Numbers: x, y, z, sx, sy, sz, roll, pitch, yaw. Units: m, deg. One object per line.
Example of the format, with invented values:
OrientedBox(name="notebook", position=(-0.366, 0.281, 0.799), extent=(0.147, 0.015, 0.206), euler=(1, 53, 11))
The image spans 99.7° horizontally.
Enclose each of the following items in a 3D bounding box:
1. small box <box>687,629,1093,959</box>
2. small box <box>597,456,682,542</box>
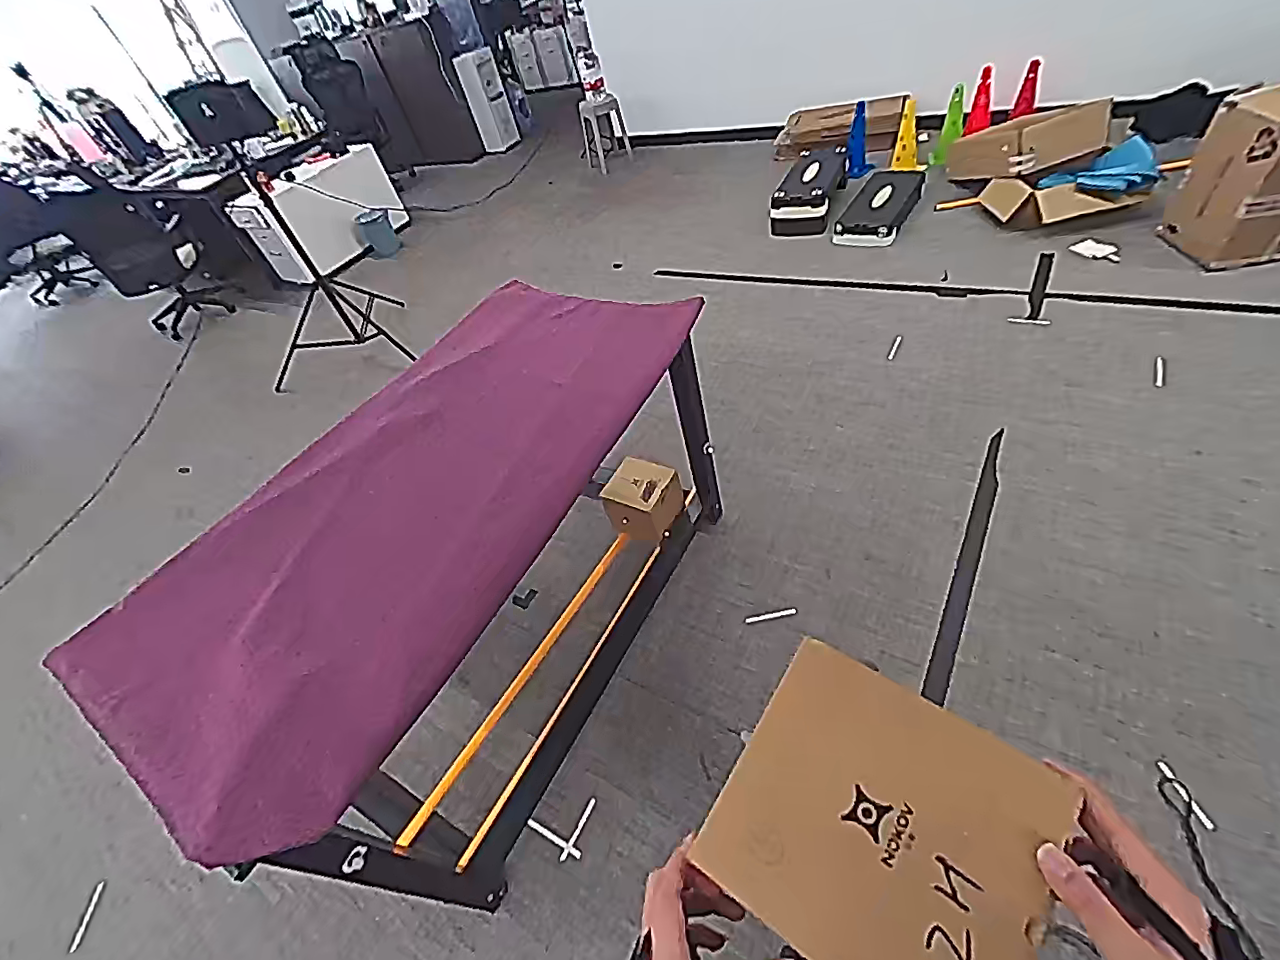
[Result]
OrientedBox(name="small box", position=(0.158, 0.241, 0.384), extent=(0.179, 0.176, 0.168), euler=(28, 69, 27))
OrientedBox(name="small box", position=(0.007, 0.058, 1.589), extent=(0.179, 0.176, 0.168), euler=(16, 55, 29))
